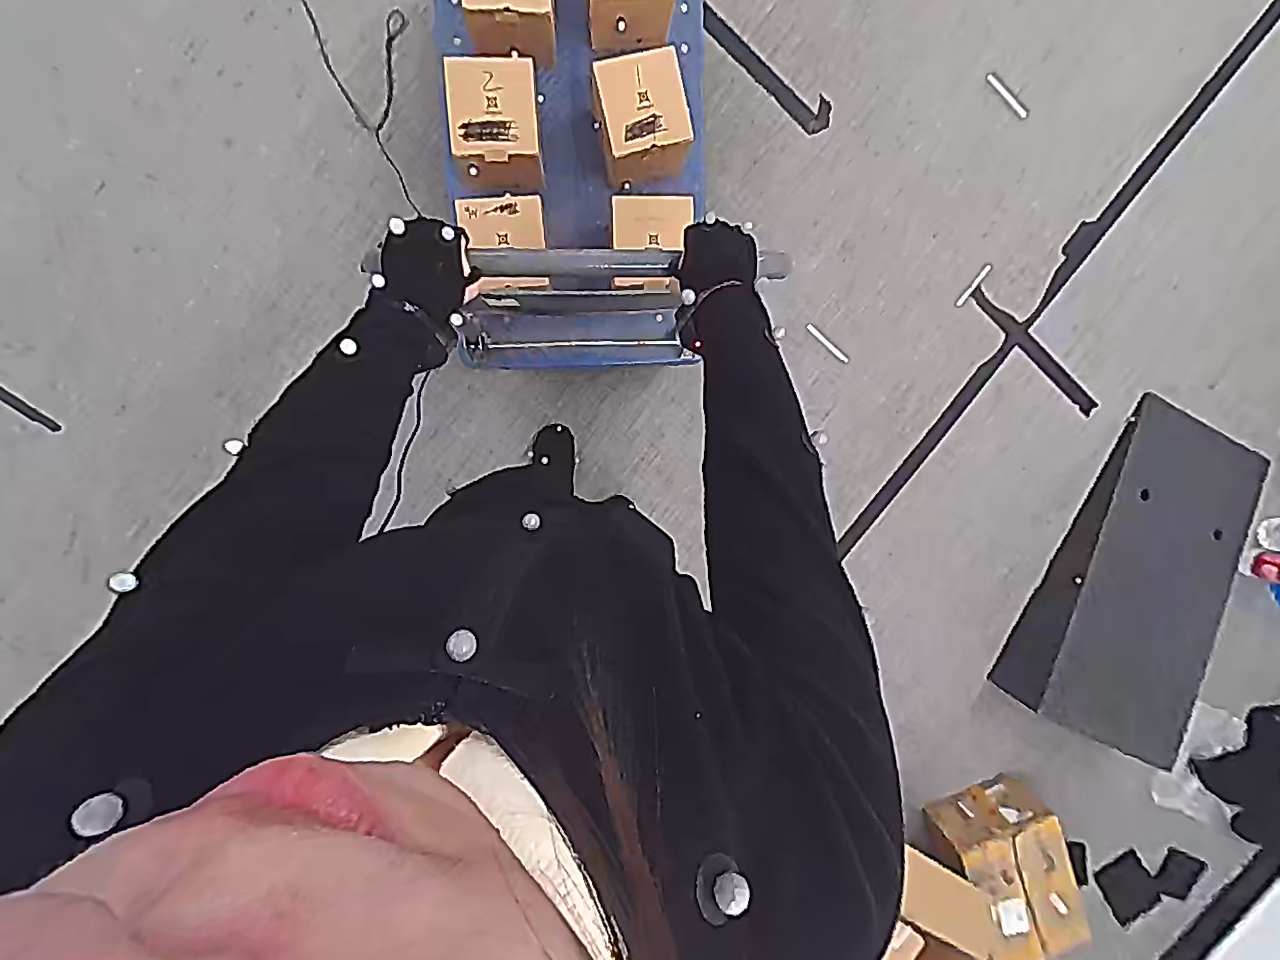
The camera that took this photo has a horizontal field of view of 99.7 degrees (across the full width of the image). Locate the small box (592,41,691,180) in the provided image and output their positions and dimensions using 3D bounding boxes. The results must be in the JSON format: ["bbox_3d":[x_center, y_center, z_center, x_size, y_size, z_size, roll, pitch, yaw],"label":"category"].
[{"bbox_3d":[-0.001,-0.755,1.129,0.168,0.176,0.179,-14,98,-4],"label":"small box"}]

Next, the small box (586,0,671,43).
[{"bbox_3d":[-0.026,-1.023,1.090,0.168,0.176,0.179,-5,98,-5],"label":"small box"}]

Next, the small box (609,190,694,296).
[{"bbox_3d":[0.020,-0.501,1.167,0.168,0.176,0.179,-2,97,-6],"label":"small box"}]

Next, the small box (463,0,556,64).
[{"bbox_3d":[-0.256,-0.977,1.072,0.168,0.176,0.179,-1,99,-5],"label":"small box"}]

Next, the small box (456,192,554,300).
[{"bbox_3d":[-0.275,-0.482,1.139,0.168,0.176,0.179,-6,99,-6],"label":"small box"}]
